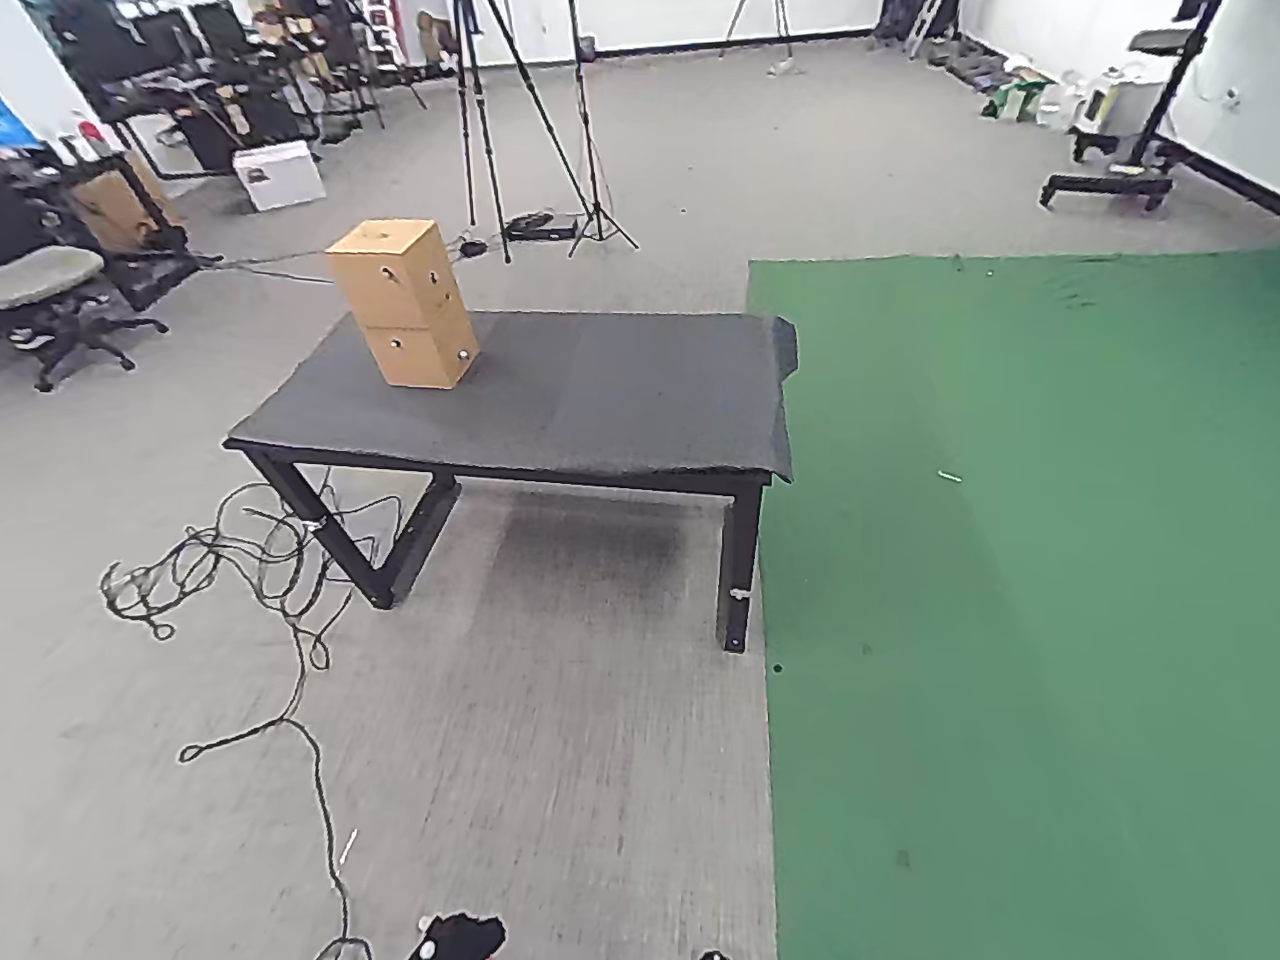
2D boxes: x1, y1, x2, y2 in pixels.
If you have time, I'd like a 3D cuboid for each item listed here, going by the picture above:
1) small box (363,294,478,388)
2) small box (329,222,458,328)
[{"bbox_3d":[-0.521,-0.338,1.312,0.179,0.176,0.168,6,47,10],"label":"small box"},{"bbox_3d":[-0.527,-0.448,1.189,0.179,0.176,0.168,5,46,9],"label":"small box"}]
